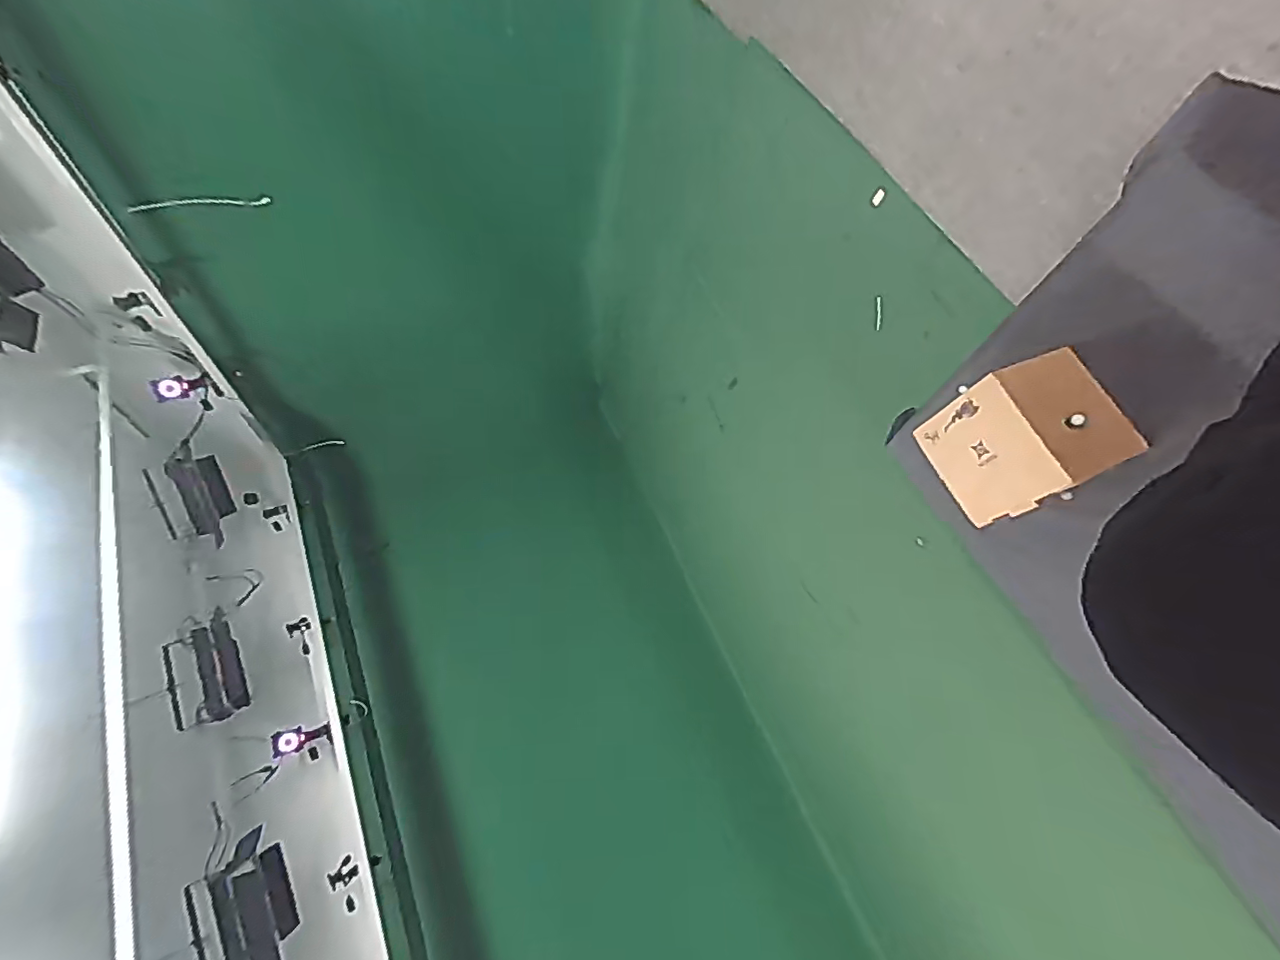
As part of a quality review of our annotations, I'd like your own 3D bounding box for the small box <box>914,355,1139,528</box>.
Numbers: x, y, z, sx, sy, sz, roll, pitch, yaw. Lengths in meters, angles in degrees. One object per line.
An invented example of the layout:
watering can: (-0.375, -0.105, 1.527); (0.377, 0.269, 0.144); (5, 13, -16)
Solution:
small box: (0.559, -0.057, 0.793); (0.179, 0.176, 0.168); (64, 158, 18)
